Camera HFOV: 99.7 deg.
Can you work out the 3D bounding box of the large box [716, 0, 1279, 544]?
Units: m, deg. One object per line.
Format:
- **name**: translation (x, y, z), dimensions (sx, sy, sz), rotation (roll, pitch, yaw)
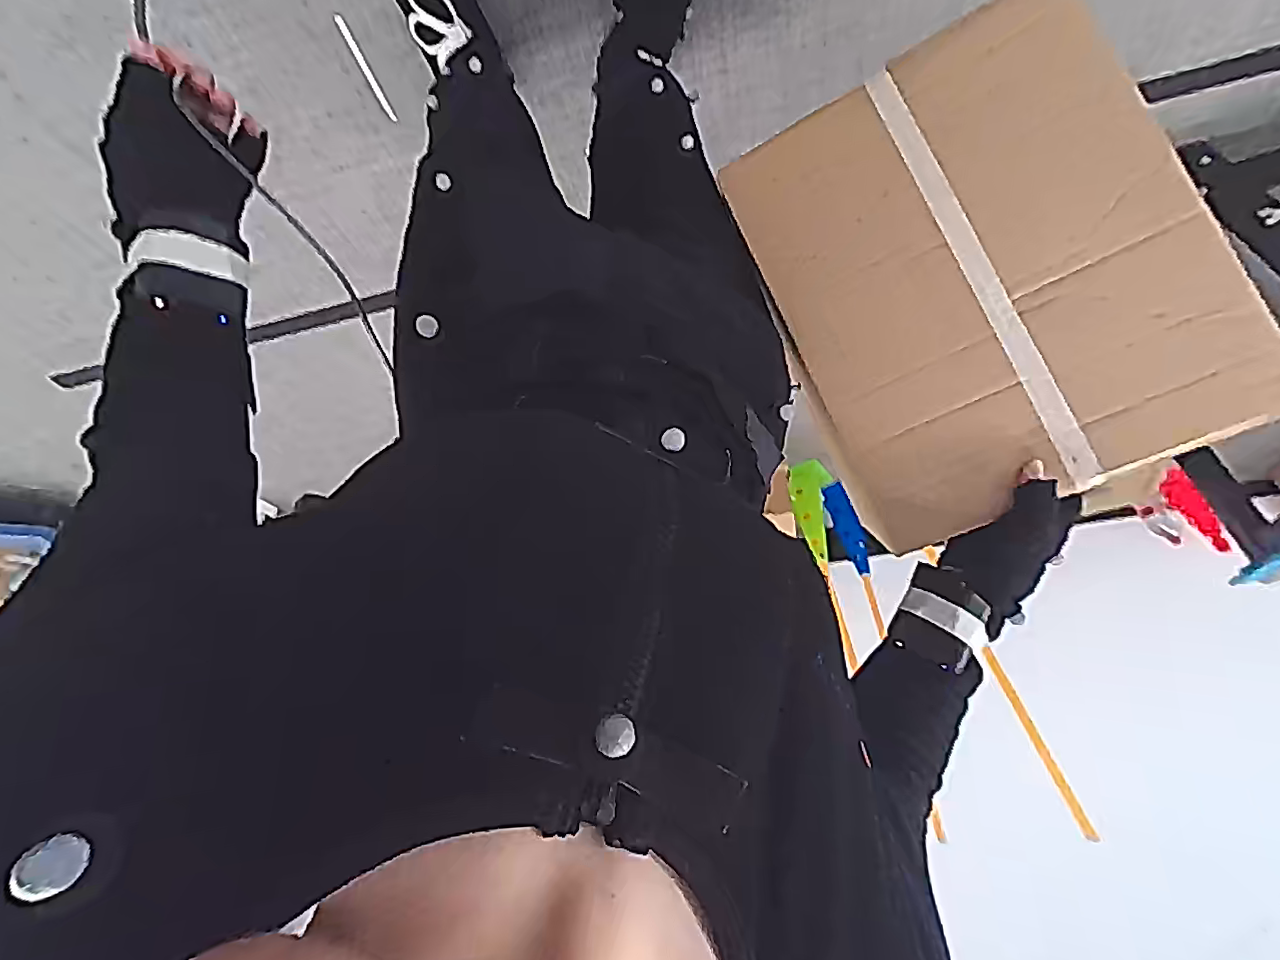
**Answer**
- **large box**: translation (0.328, -0.185, 0.612), dimensions (0.320, 0.408, 0.320), rotation (-25, 174, 18)
